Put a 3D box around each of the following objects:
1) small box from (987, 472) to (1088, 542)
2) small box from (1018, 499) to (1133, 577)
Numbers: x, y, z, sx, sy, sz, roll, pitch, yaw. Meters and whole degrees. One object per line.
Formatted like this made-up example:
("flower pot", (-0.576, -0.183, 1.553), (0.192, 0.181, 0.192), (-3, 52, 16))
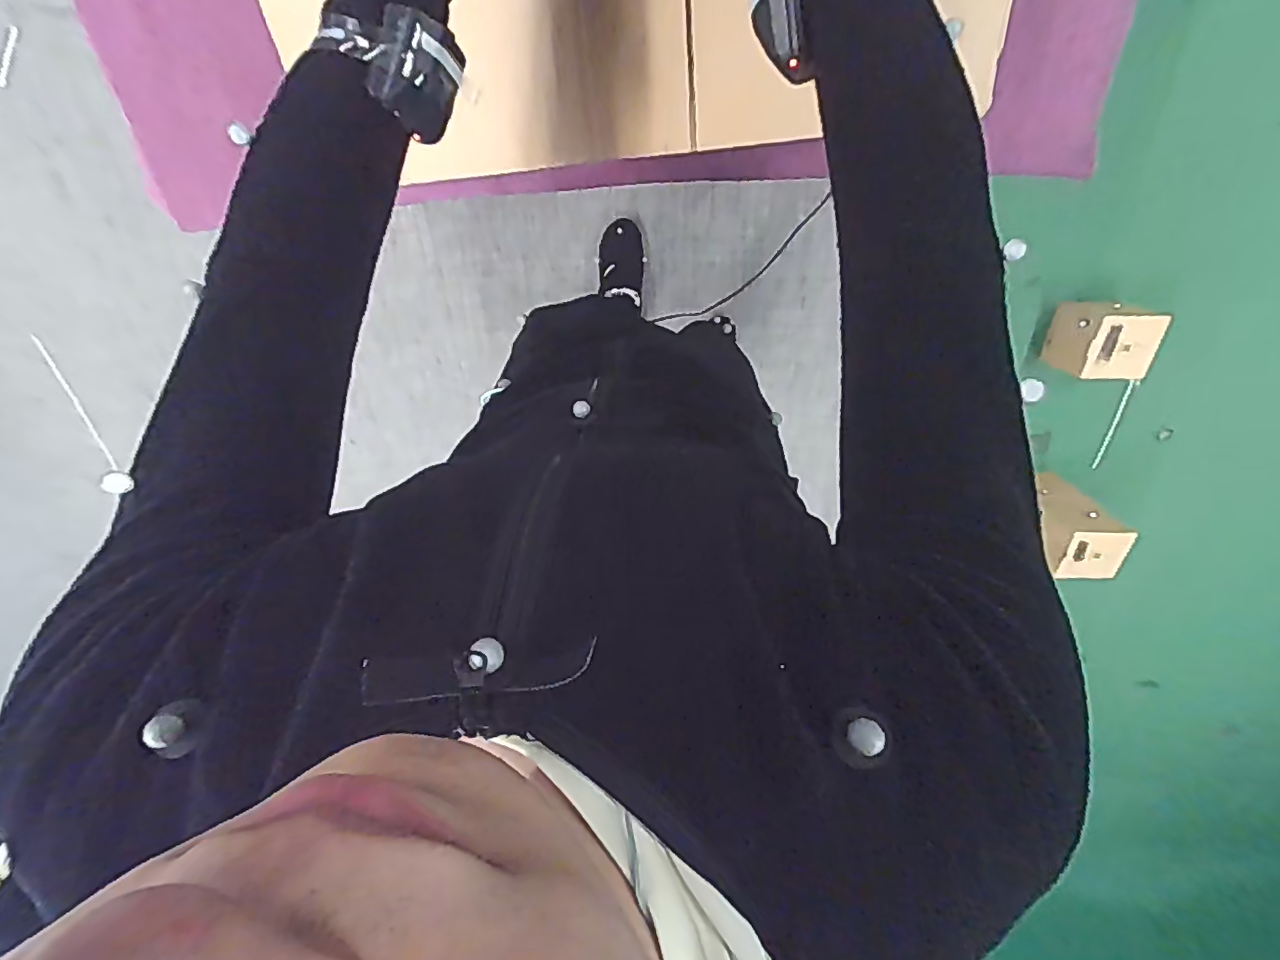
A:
("small box", (1.265, 0.085, 1.733), (0.179, 0.176, 0.168), (0, 120, 0))
("small box", (1.266, 0.168, 1.592), (0.179, 0.176, 0.168), (1, 121, -1))
